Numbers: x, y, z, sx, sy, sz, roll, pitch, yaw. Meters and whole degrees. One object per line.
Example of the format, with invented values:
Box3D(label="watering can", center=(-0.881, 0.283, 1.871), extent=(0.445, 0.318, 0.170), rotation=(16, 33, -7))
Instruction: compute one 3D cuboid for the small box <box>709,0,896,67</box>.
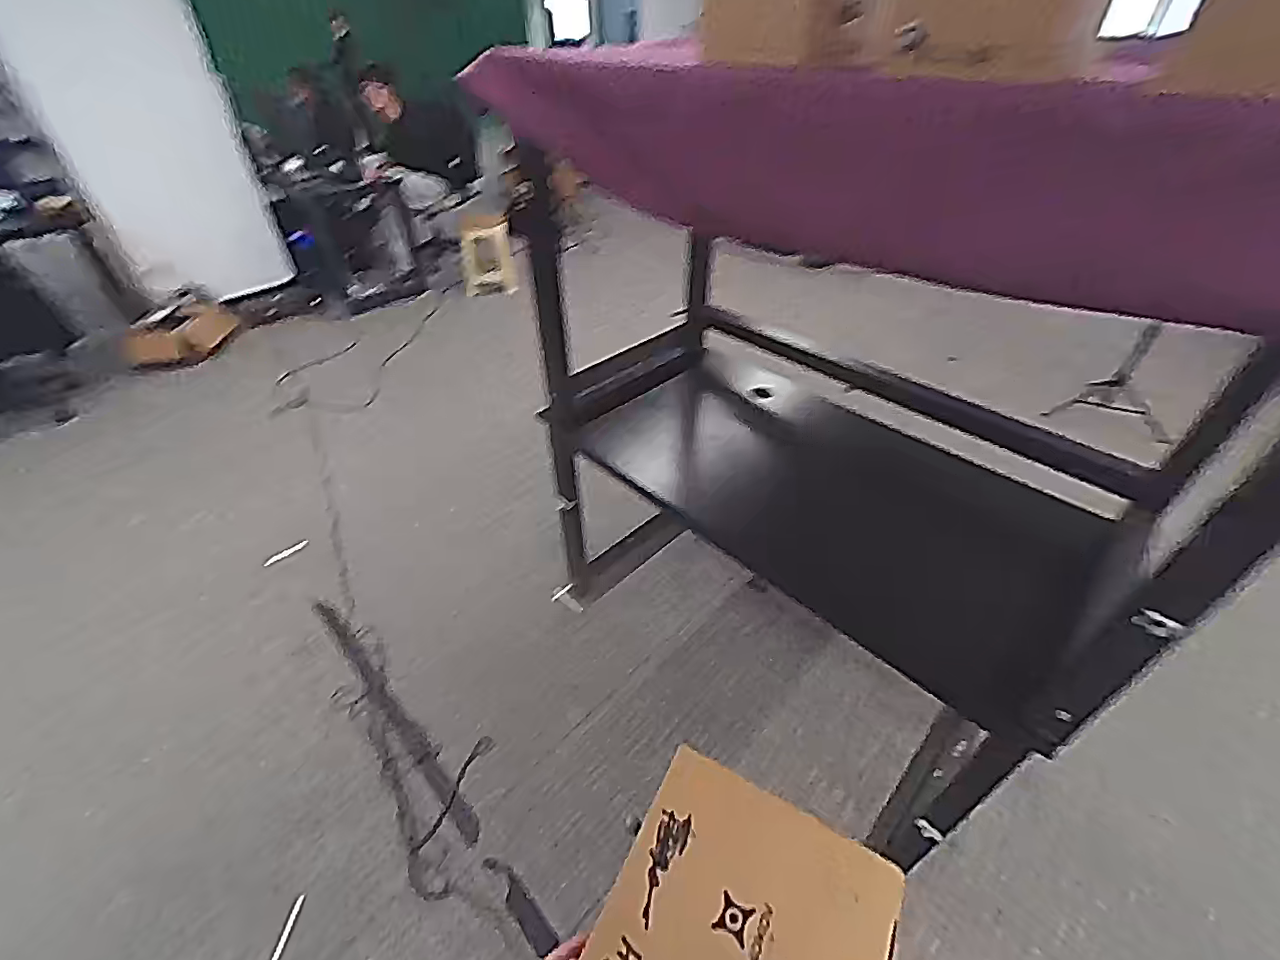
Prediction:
Box3D(label="small box", center=(0.201, -0.617, 0.663), extent=(0.168, 0.176, 0.179), rotation=(-29, 49, -29))

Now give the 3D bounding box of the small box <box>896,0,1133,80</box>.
Box3D(label="small box", center=(0.372, -0.491, 0.516), extent=(0.179, 0.176, 0.168), rotation=(-31, 50, -33))
